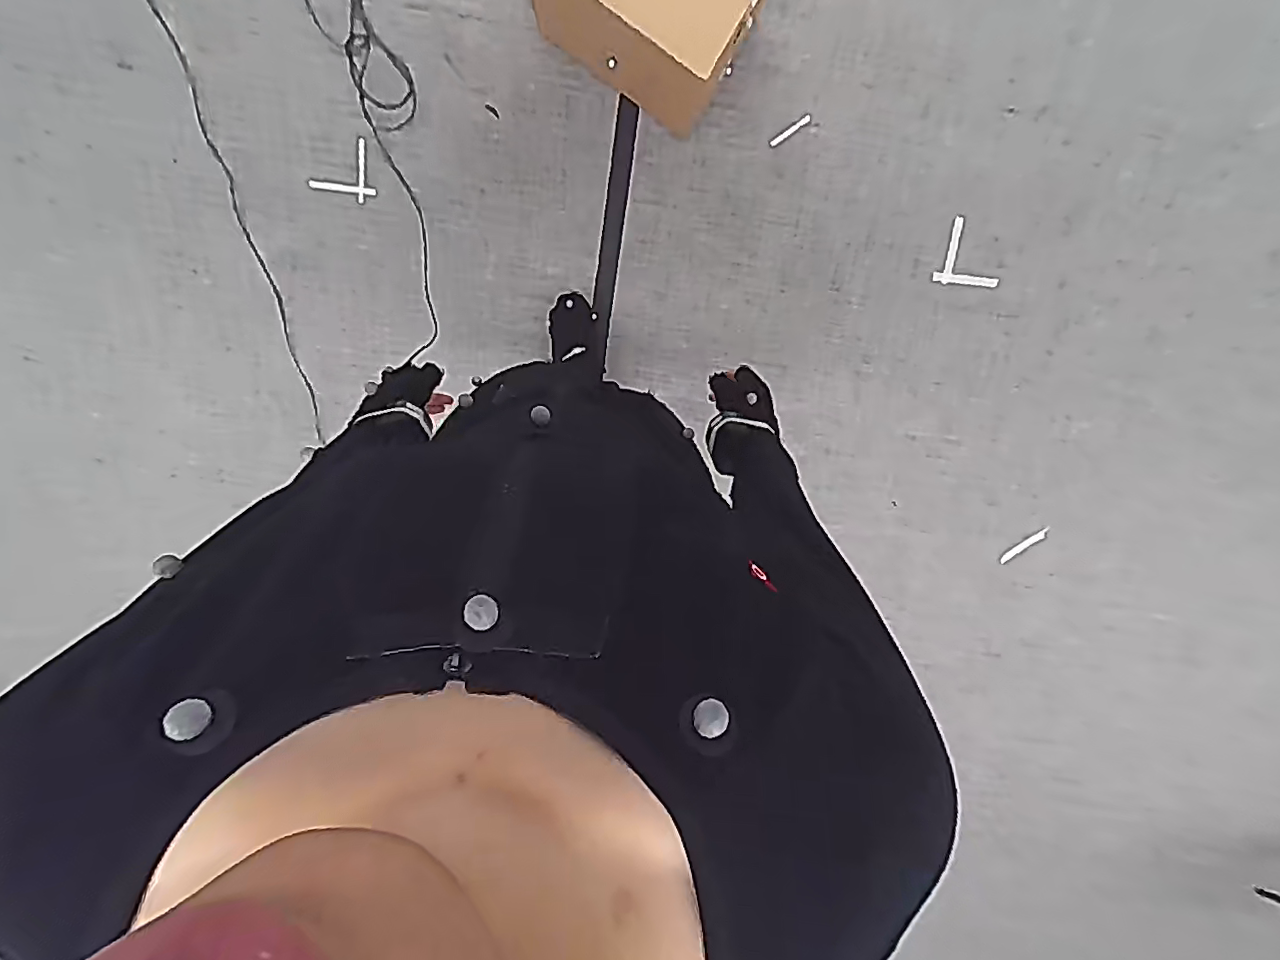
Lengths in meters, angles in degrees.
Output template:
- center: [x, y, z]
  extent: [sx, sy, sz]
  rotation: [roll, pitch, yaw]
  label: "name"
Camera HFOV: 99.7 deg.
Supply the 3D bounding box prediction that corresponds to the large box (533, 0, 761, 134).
- center: [0.027, -1.005, 1.092]
  extent: [0.408, 0.320, 0.320]
  rotation: [30, 101, -9]
  label: "large box"
